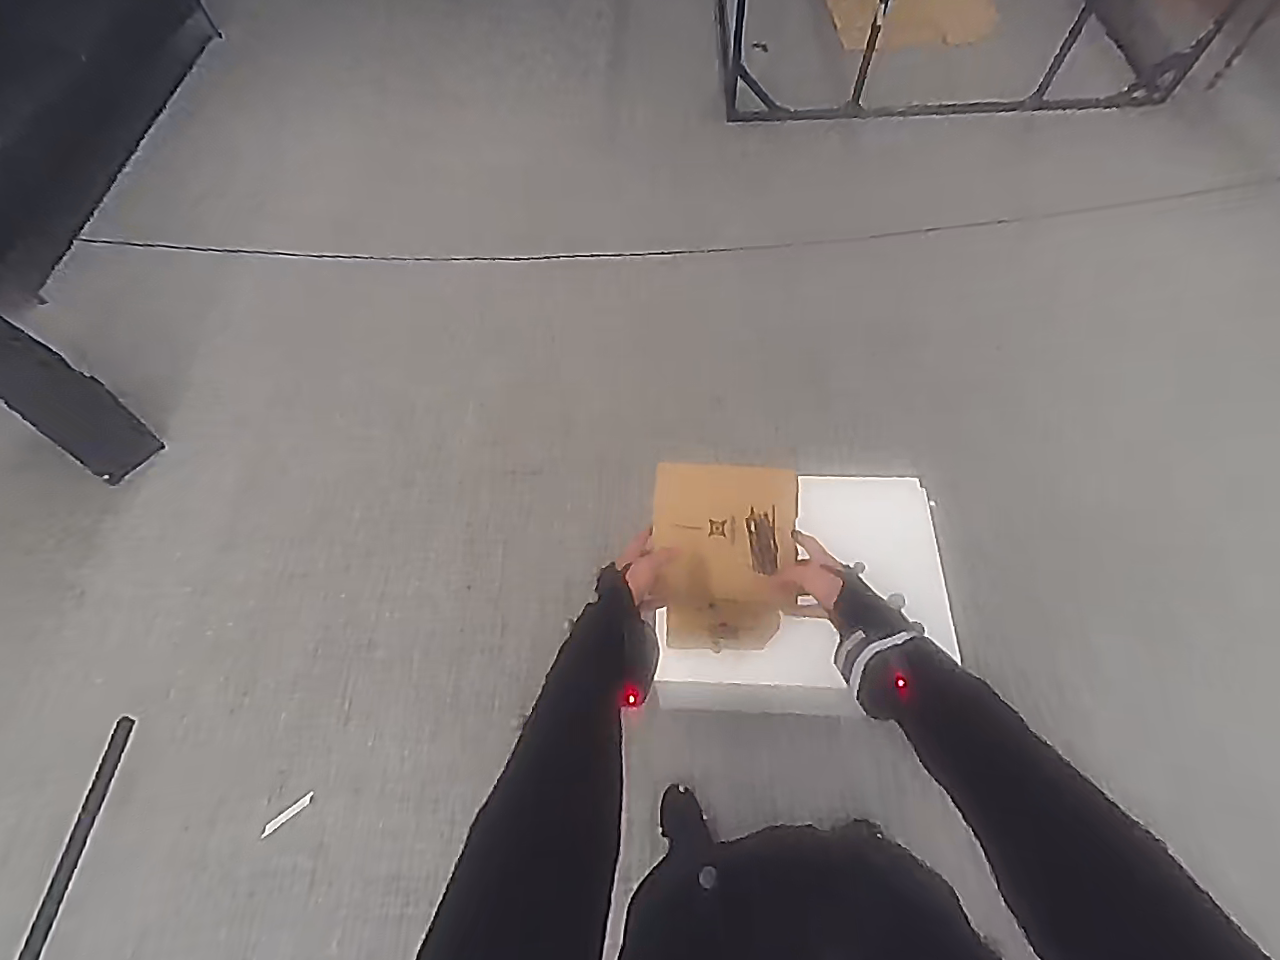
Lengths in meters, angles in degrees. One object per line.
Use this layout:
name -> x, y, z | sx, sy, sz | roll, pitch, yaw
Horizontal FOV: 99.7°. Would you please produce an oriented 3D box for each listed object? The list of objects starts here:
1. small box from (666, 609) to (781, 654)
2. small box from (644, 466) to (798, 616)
small box -> 0.126, 0.178, 0.882 | 0.168, 0.176, 0.179 | -1, 63, 4
small box -> 0.104, 0.088, 0.715 | 0.179, 0.176, 0.168 | 2, 73, 7
